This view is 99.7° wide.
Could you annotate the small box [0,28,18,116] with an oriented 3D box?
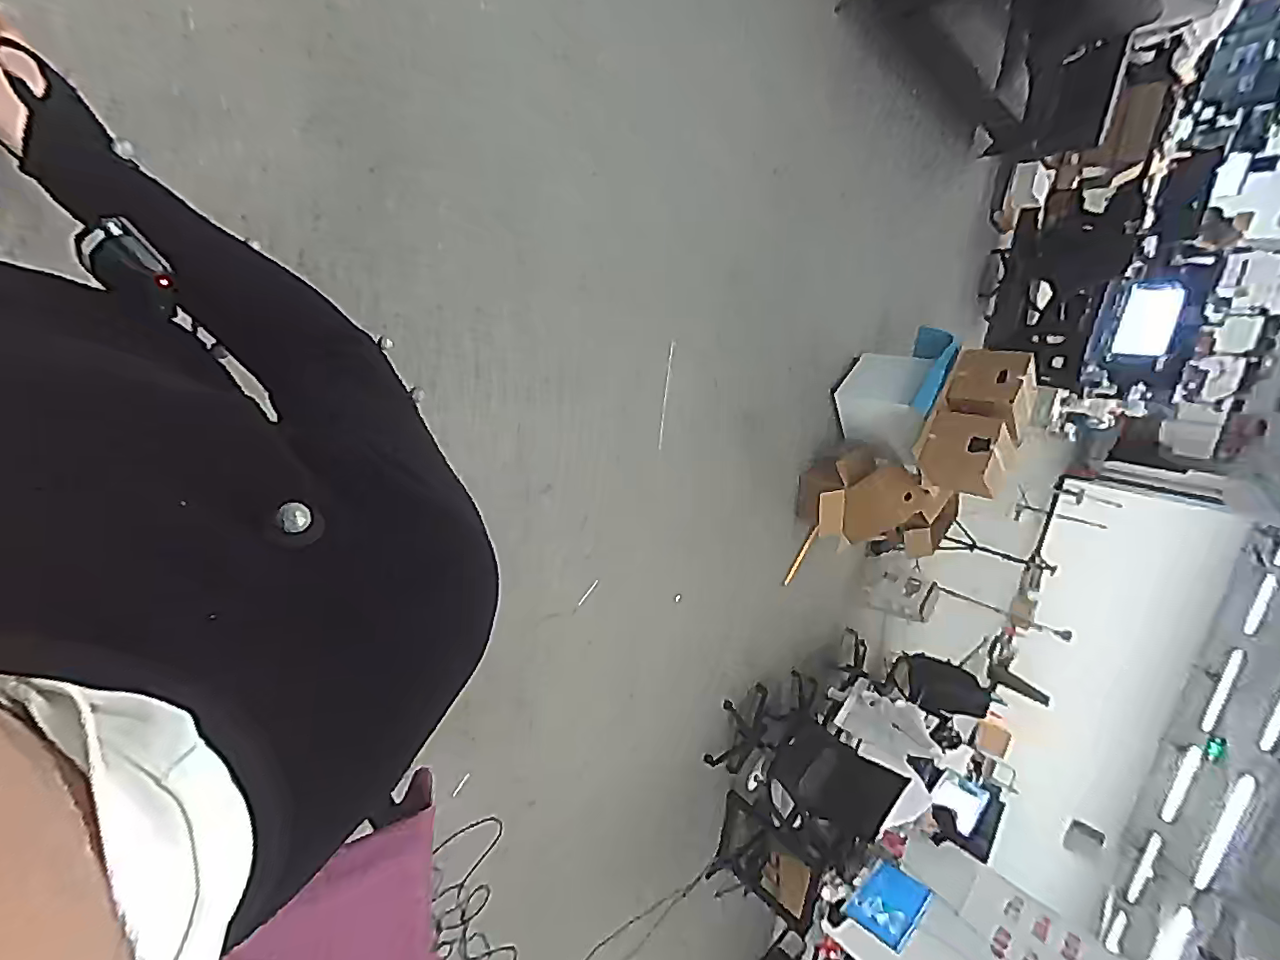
[{"bbox_3d":[-0.610,-0.403,0.399,0.168,0.176,0.179,-15,115,-41],"label":"small box"}]
